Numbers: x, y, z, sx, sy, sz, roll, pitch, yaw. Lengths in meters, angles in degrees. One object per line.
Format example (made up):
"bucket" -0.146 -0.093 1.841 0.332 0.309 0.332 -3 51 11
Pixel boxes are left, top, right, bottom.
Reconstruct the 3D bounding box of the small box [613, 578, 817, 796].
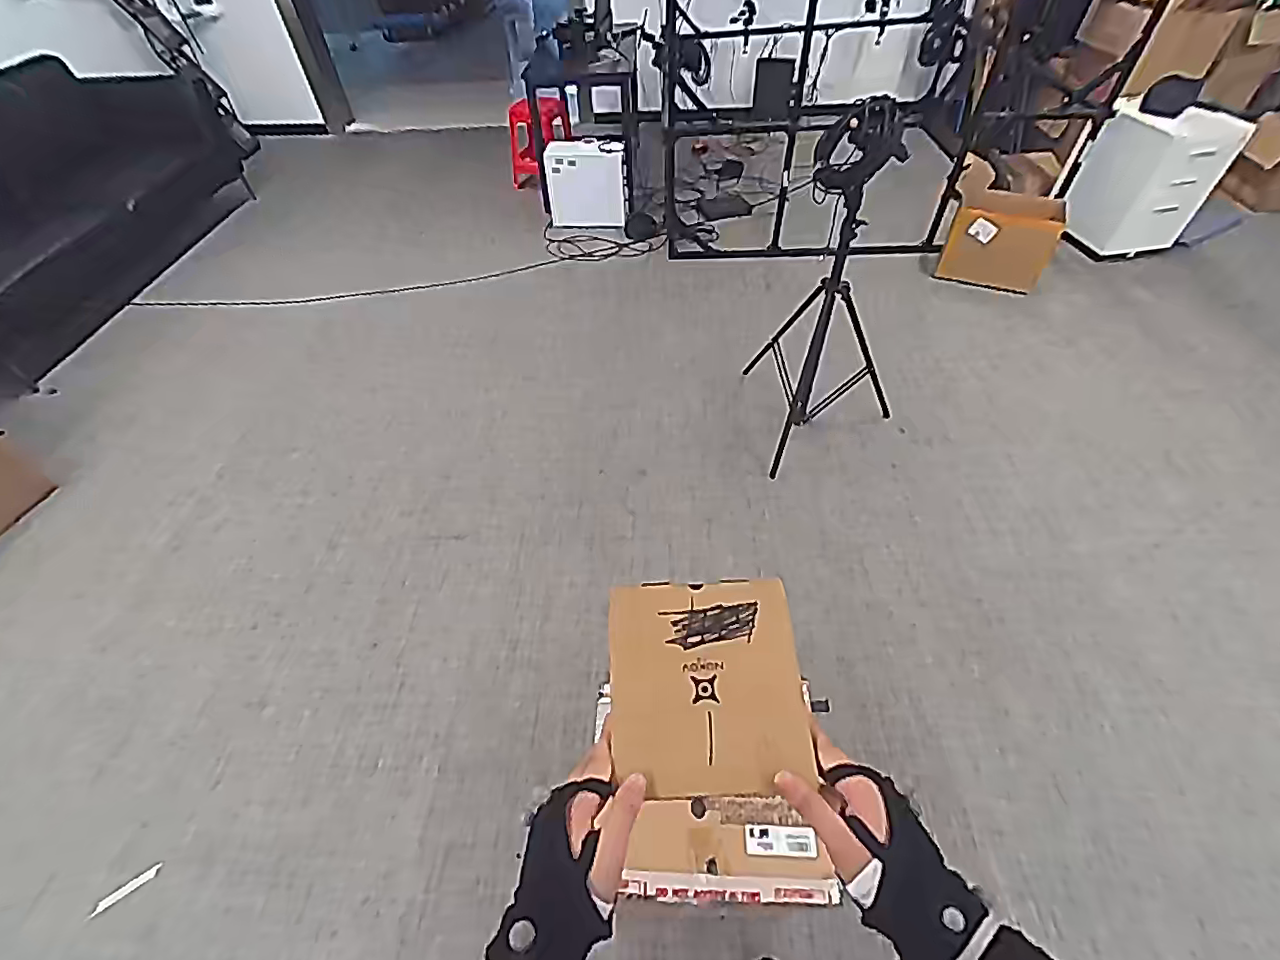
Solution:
"small box" 0.058 0.211 0.539 0.168 0.176 0.179 -3 60 0
